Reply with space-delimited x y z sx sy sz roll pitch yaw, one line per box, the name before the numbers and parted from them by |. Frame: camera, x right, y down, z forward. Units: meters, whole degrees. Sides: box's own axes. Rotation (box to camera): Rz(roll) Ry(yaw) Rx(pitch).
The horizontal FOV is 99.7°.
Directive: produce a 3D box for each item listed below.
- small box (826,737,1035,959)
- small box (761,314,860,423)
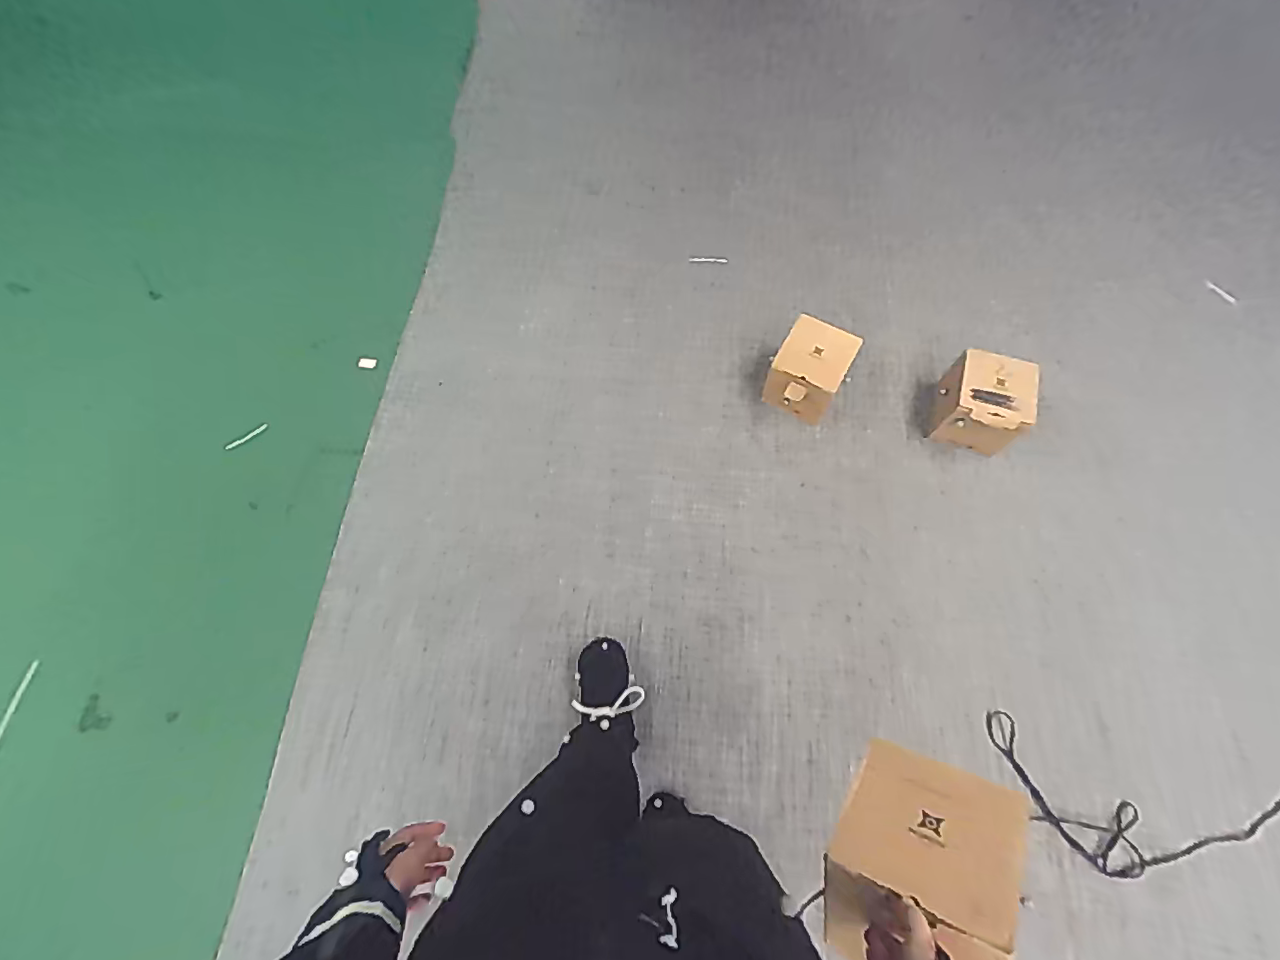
small box | 0.314 0.436 0.593 0.168 0.176 0.179 12 29 35
small box | 0.422 -0.276 1.368 0.168 0.176 0.179 28 73 12
